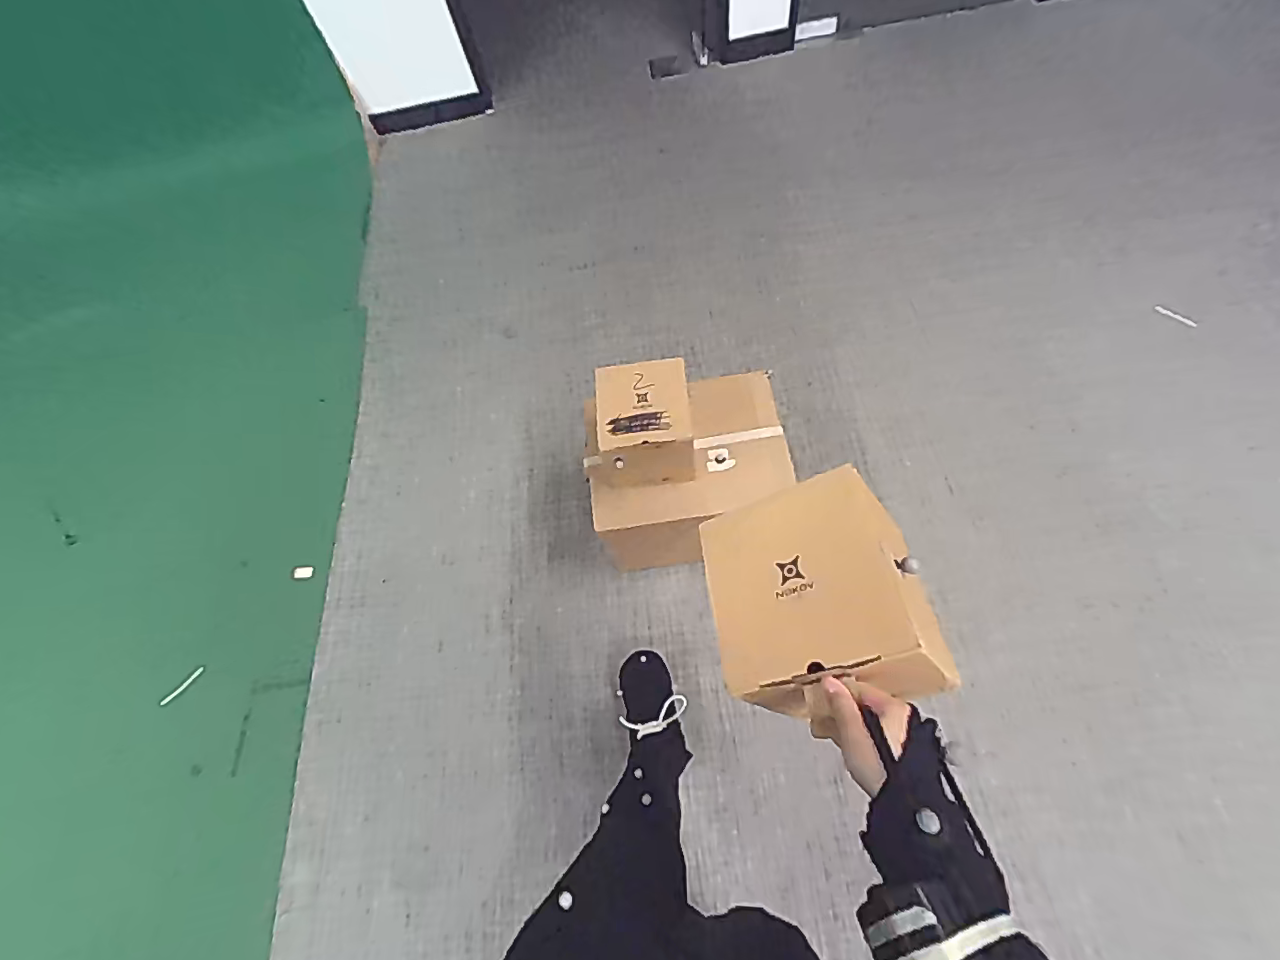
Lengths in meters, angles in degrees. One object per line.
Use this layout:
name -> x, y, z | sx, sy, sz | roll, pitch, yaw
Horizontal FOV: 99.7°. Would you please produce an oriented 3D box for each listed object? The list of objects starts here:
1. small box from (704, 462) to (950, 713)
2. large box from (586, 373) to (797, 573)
small box -> 0.182, 0.117, 0.539 | 0.168, 0.176, 0.179 | -24, 51, 26
large box -> 0.110, 0.000, 1.235 | 0.408, 0.320, 0.320 | -9, 65, 3
